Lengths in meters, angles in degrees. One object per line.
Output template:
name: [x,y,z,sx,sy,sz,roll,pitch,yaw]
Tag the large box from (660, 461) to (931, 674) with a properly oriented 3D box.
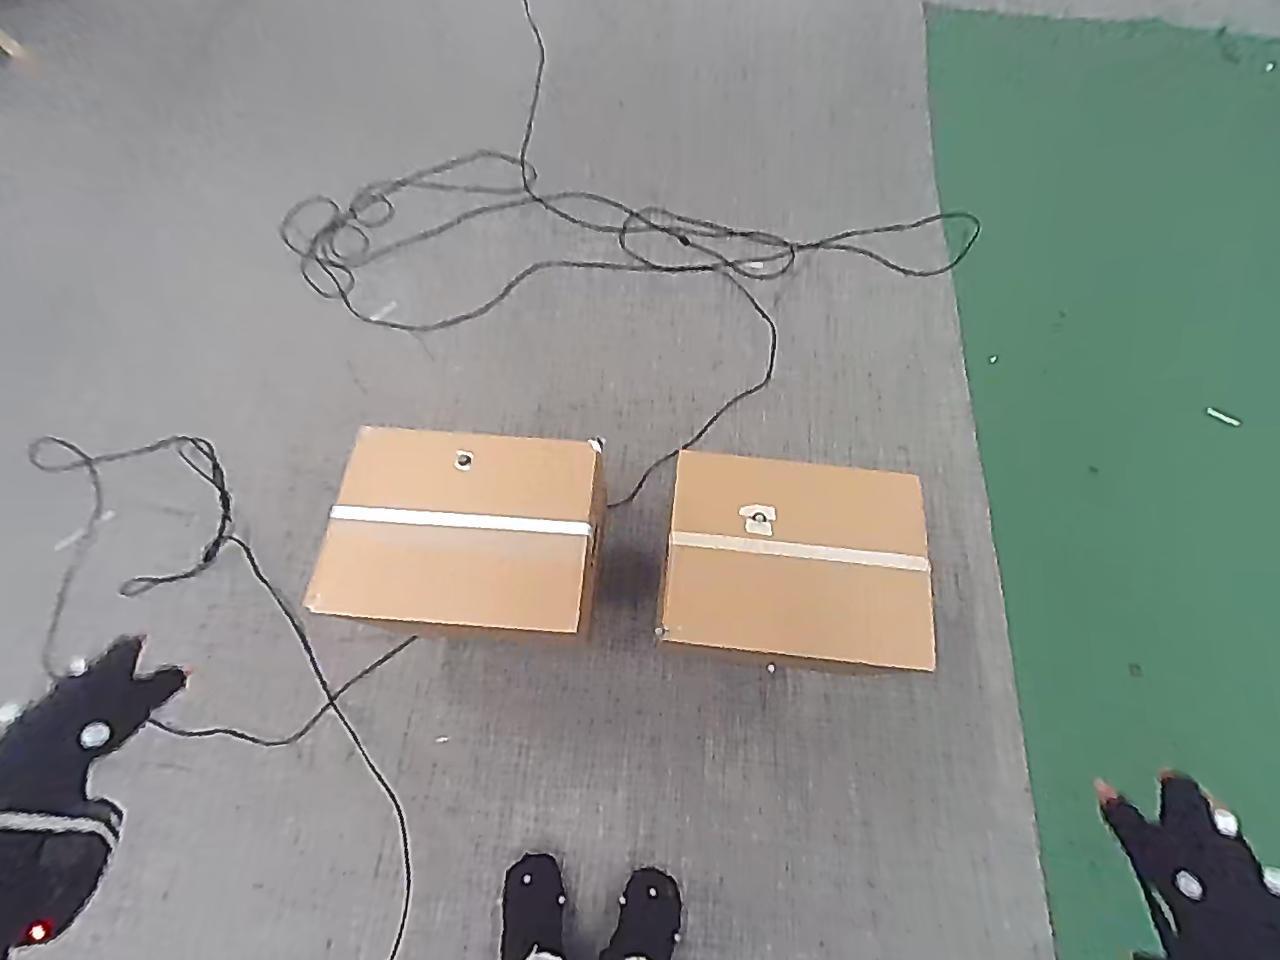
large box: [0.253,0.179,1.001,0.408,0.320,0.320,6,69,2]
